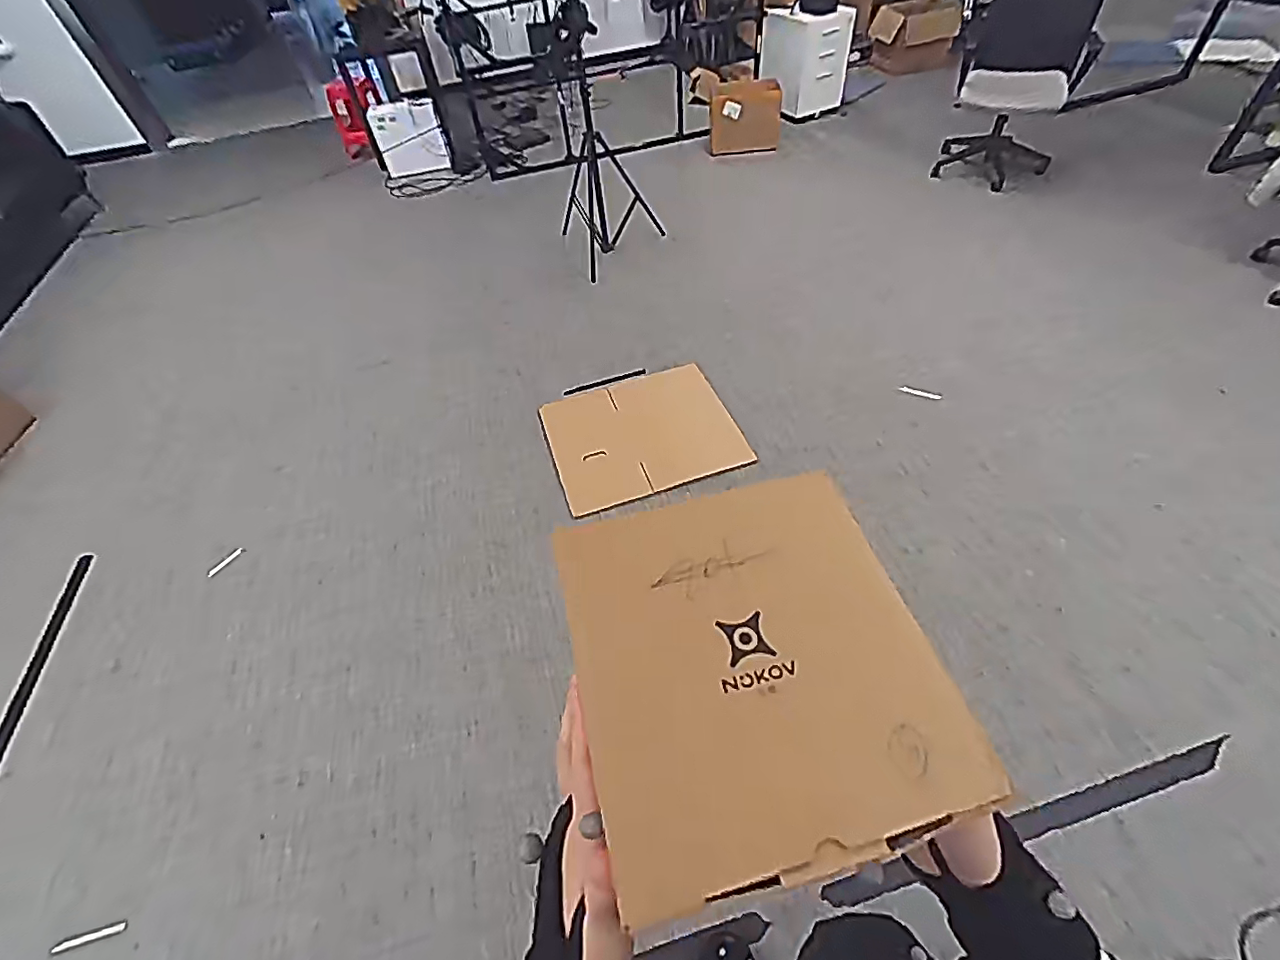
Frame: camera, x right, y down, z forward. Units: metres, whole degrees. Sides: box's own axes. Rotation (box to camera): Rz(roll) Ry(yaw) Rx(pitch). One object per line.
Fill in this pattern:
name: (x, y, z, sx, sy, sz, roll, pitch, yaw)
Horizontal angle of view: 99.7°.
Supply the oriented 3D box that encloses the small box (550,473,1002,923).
small box: (0.052, 0.127, 0.321, 0.168, 0.176, 0.179, -12, 52, -9)
